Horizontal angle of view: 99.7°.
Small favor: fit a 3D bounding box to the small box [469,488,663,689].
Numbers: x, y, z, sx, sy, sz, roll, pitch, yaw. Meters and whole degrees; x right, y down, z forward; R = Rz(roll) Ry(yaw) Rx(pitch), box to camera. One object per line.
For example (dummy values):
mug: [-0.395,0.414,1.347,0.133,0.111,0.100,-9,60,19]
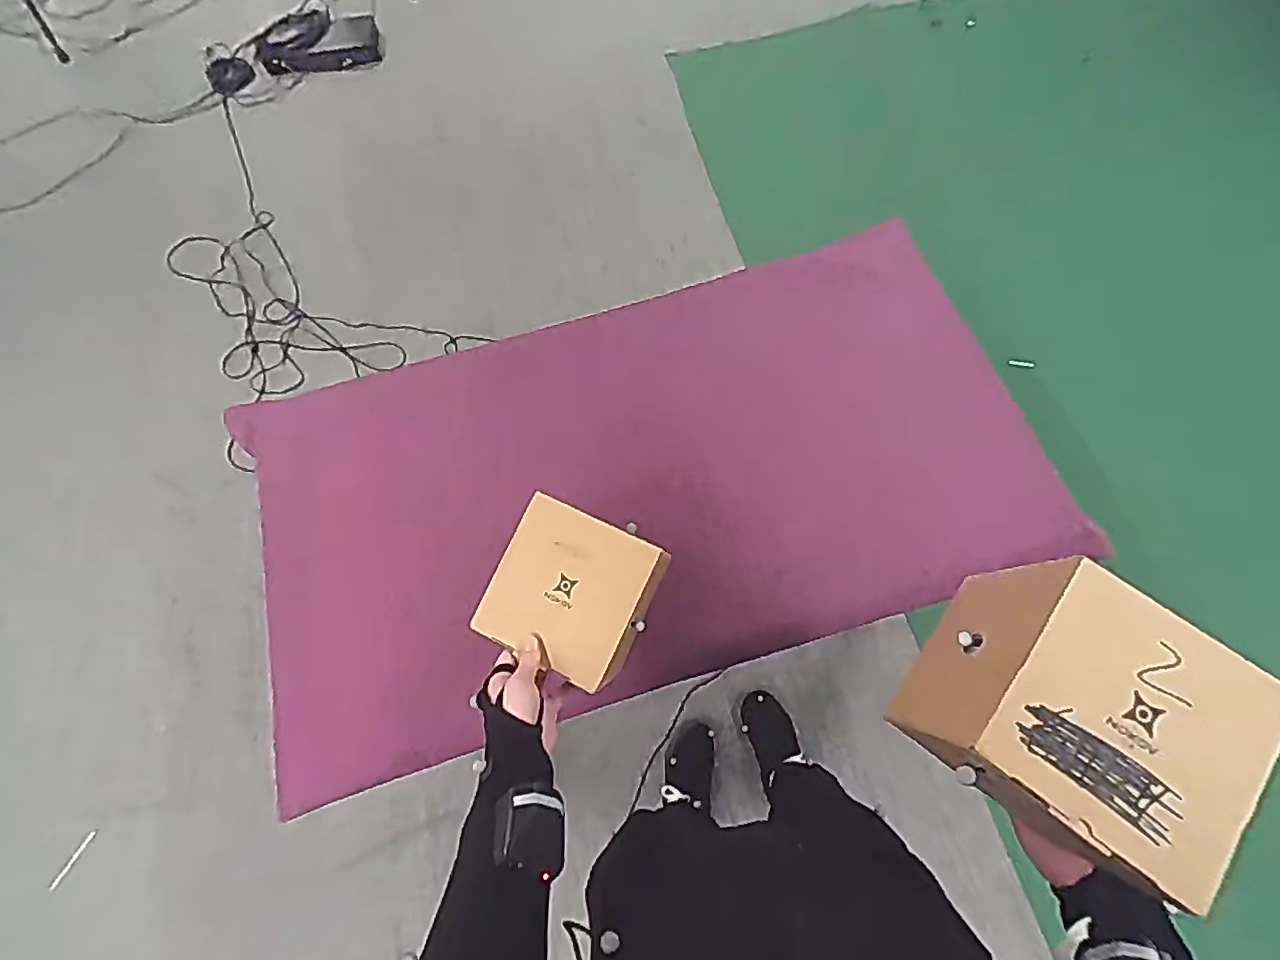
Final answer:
small box: [-0.079,0.133,0.689,0.168,0.176,0.179,26,83,10]
